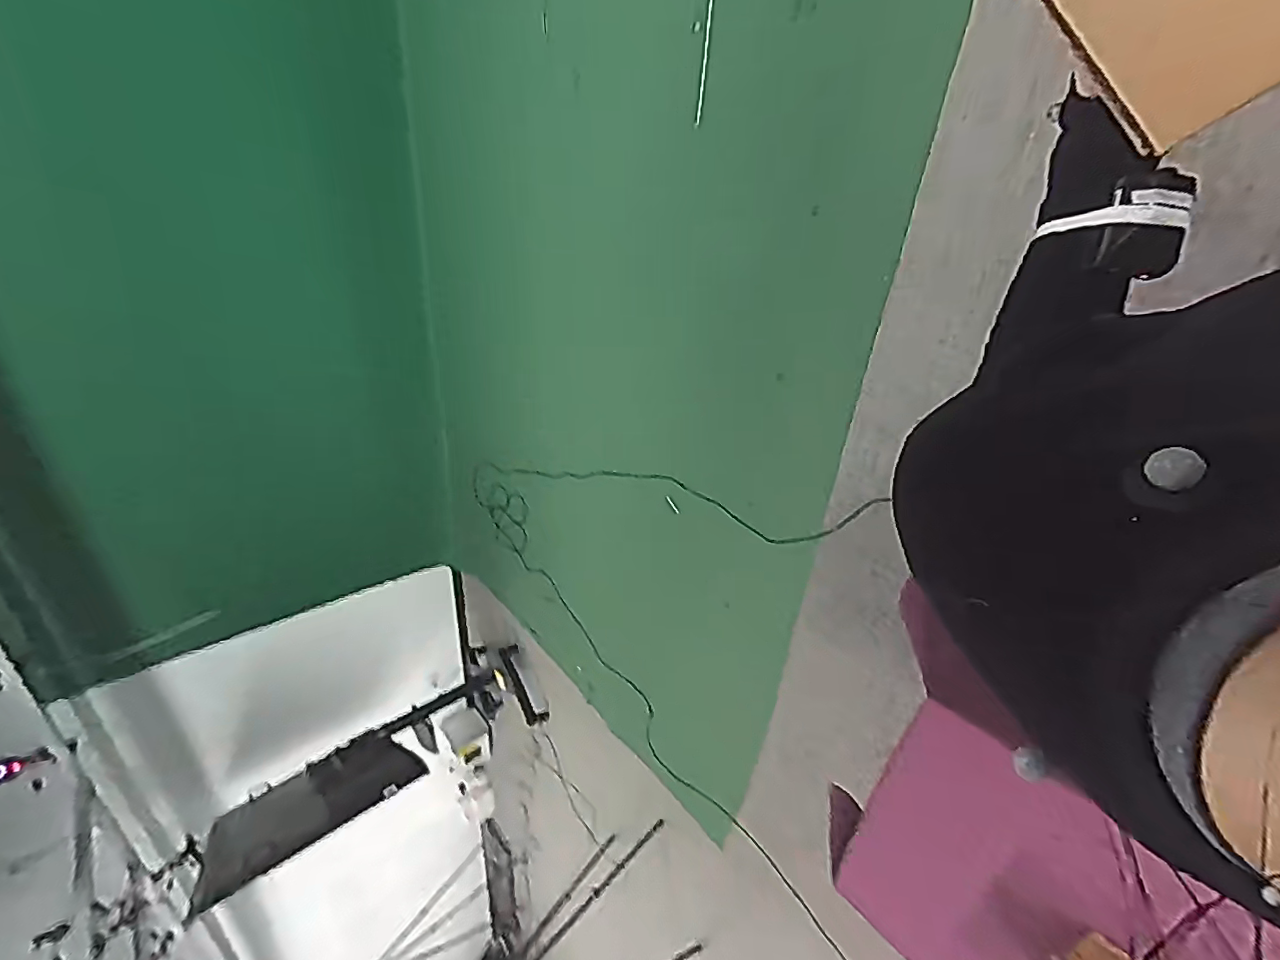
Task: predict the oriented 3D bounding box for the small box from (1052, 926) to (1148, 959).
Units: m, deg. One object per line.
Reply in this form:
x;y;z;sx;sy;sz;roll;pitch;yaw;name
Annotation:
0.652;0.764;0.718;0.179;0.176;0.168;34;129;39;small box
